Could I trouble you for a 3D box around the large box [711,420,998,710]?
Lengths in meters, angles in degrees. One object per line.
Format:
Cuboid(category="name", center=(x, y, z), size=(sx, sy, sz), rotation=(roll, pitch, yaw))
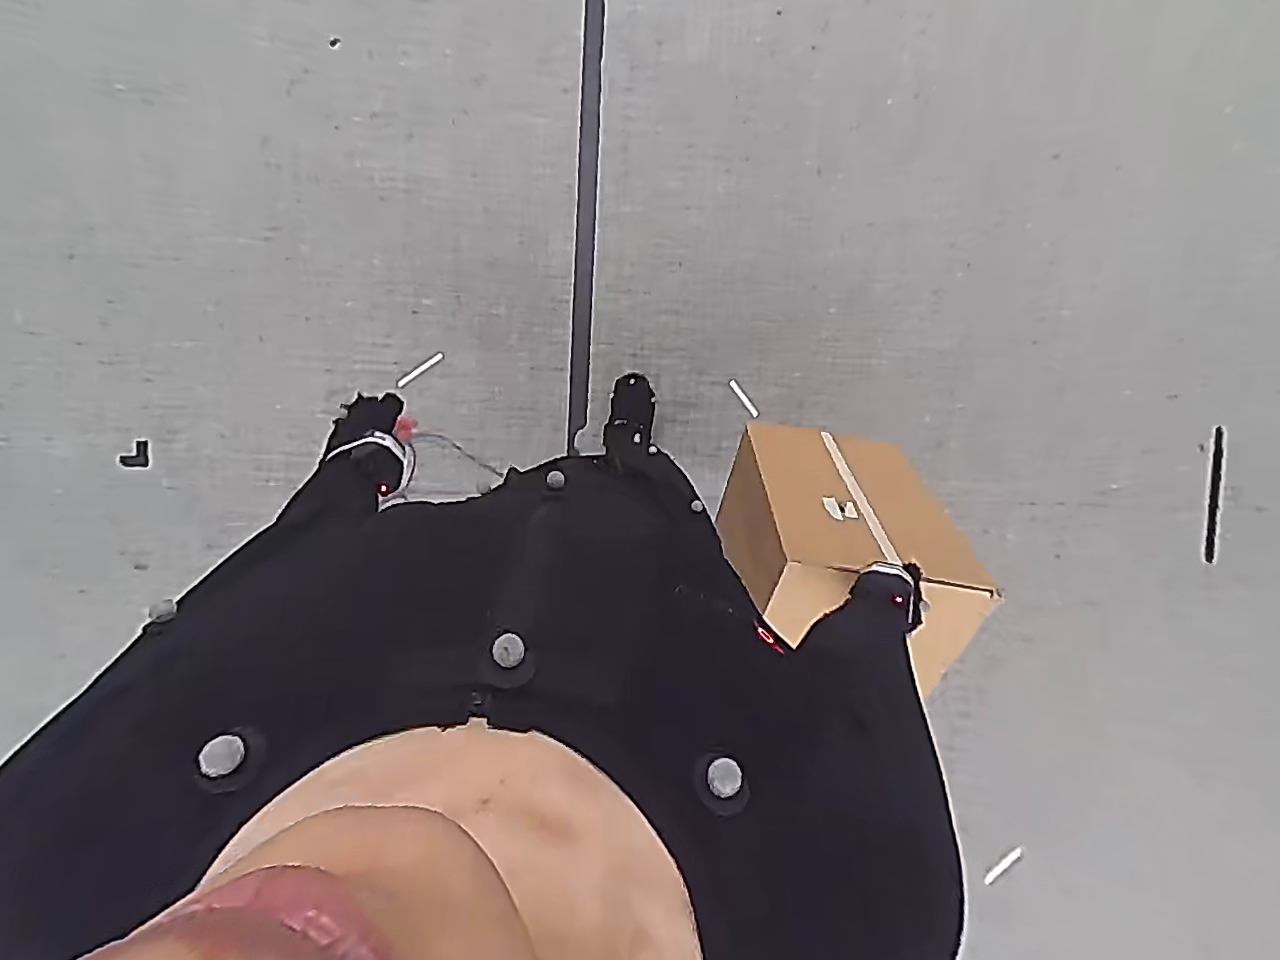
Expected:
Cuboid(category="large box", center=(0.332, 0.139, 0.993), size=(0.320, 0.408, 0.320), rotation=(9, 124, -4))
